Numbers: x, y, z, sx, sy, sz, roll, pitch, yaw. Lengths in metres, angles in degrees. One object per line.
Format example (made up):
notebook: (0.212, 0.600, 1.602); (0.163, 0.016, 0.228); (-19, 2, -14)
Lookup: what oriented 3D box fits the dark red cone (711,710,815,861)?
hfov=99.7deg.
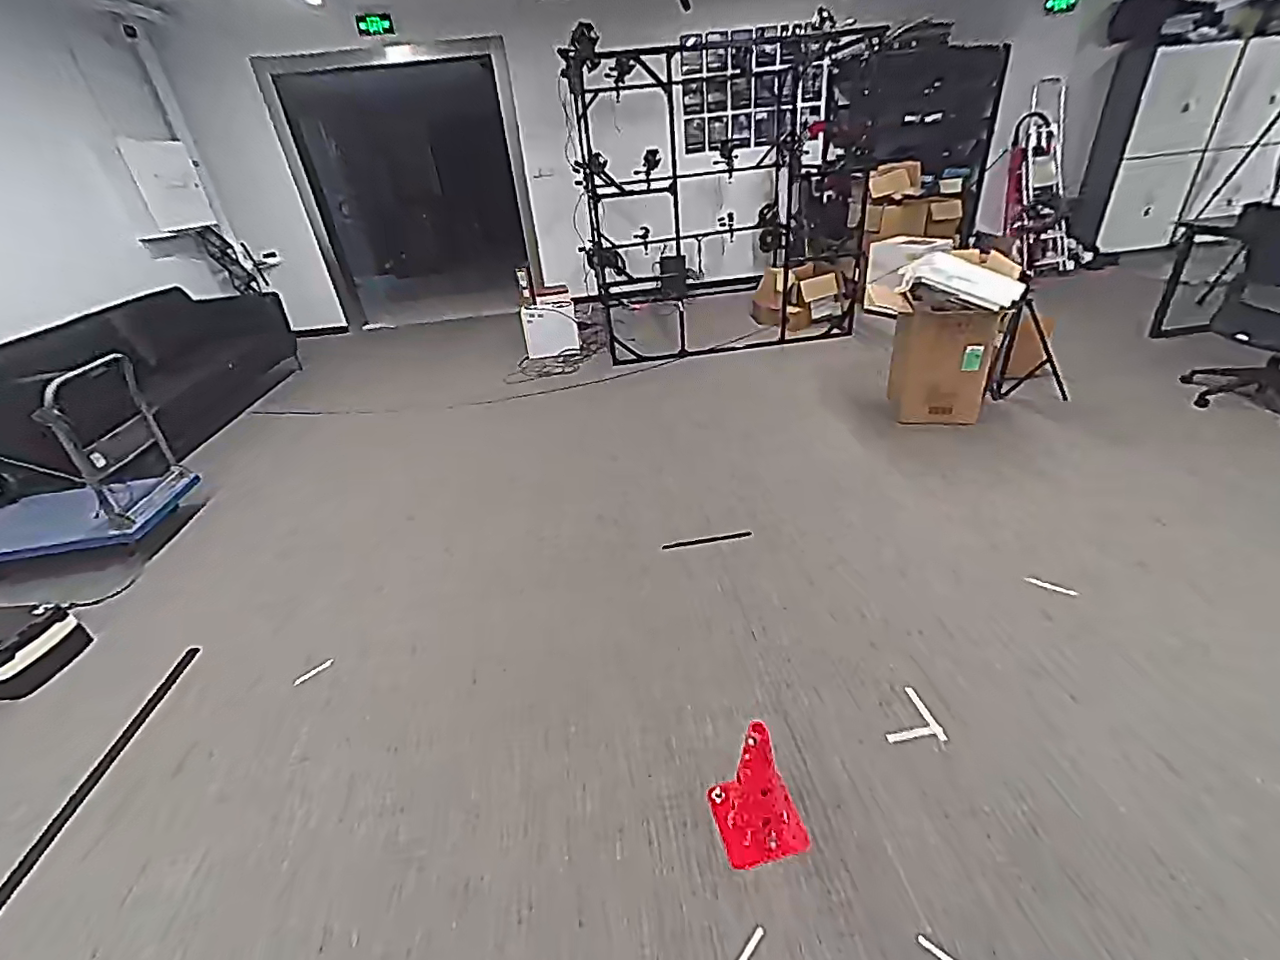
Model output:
dark red cone: (0.275, 0.656, 1.218); (0.202, 0.394, 0.201); (-12, 32, -9)
